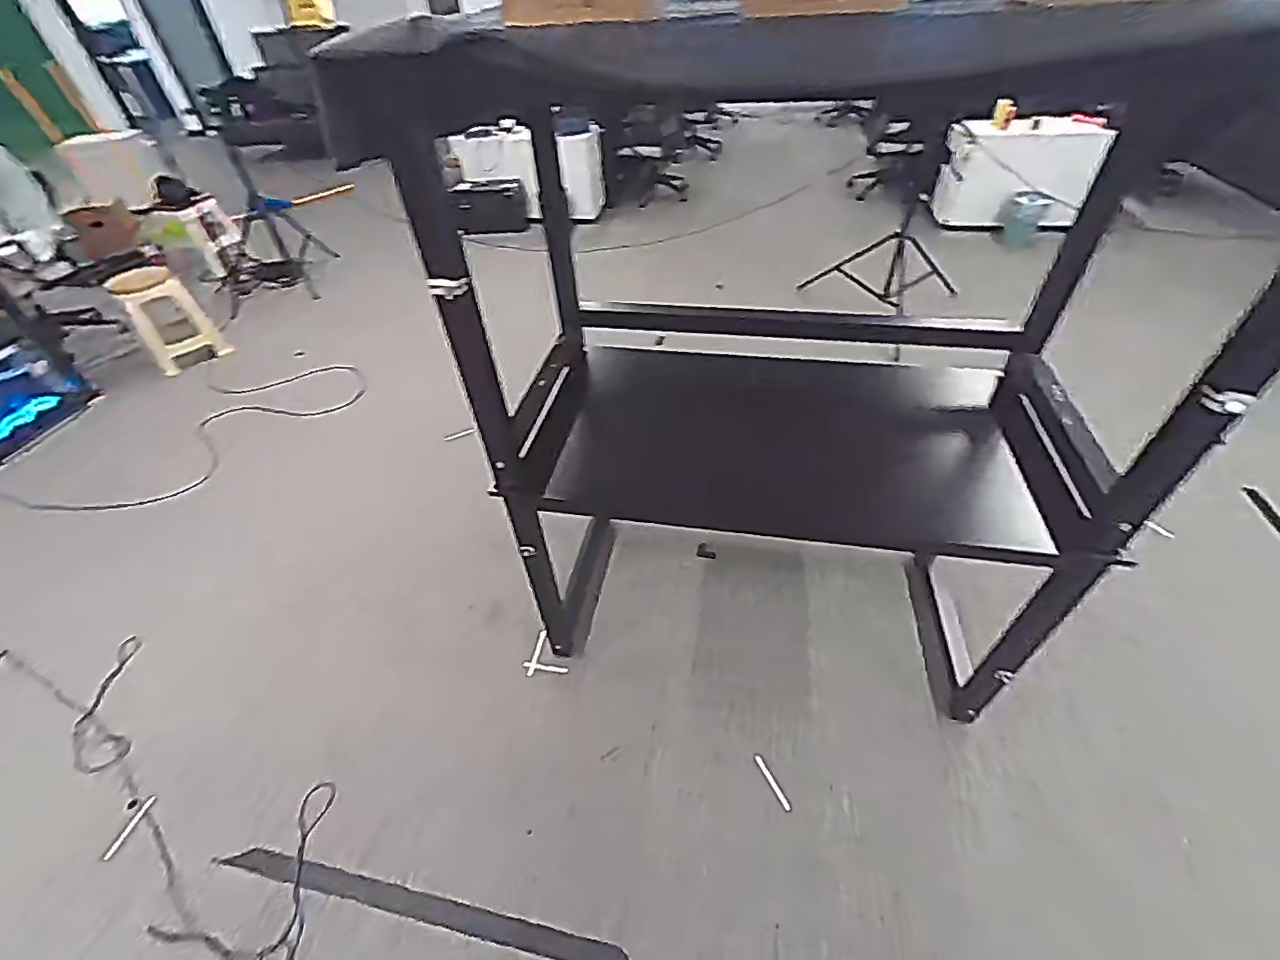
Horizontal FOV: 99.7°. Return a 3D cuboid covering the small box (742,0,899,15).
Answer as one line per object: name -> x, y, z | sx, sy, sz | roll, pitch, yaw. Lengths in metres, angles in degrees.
small box -> 0.202, -0.609, 0.575 | 0.168, 0.176, 0.179 | 6, 43, 11

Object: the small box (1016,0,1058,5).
small box -> 0.496, -0.582, 0.528 | 0.168, 0.176, 0.179 | 9, 43, 13

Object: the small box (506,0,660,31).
small box -> -0.066, -0.633, 0.622 | 0.168, 0.176, 0.179 | 6, 43, 8
